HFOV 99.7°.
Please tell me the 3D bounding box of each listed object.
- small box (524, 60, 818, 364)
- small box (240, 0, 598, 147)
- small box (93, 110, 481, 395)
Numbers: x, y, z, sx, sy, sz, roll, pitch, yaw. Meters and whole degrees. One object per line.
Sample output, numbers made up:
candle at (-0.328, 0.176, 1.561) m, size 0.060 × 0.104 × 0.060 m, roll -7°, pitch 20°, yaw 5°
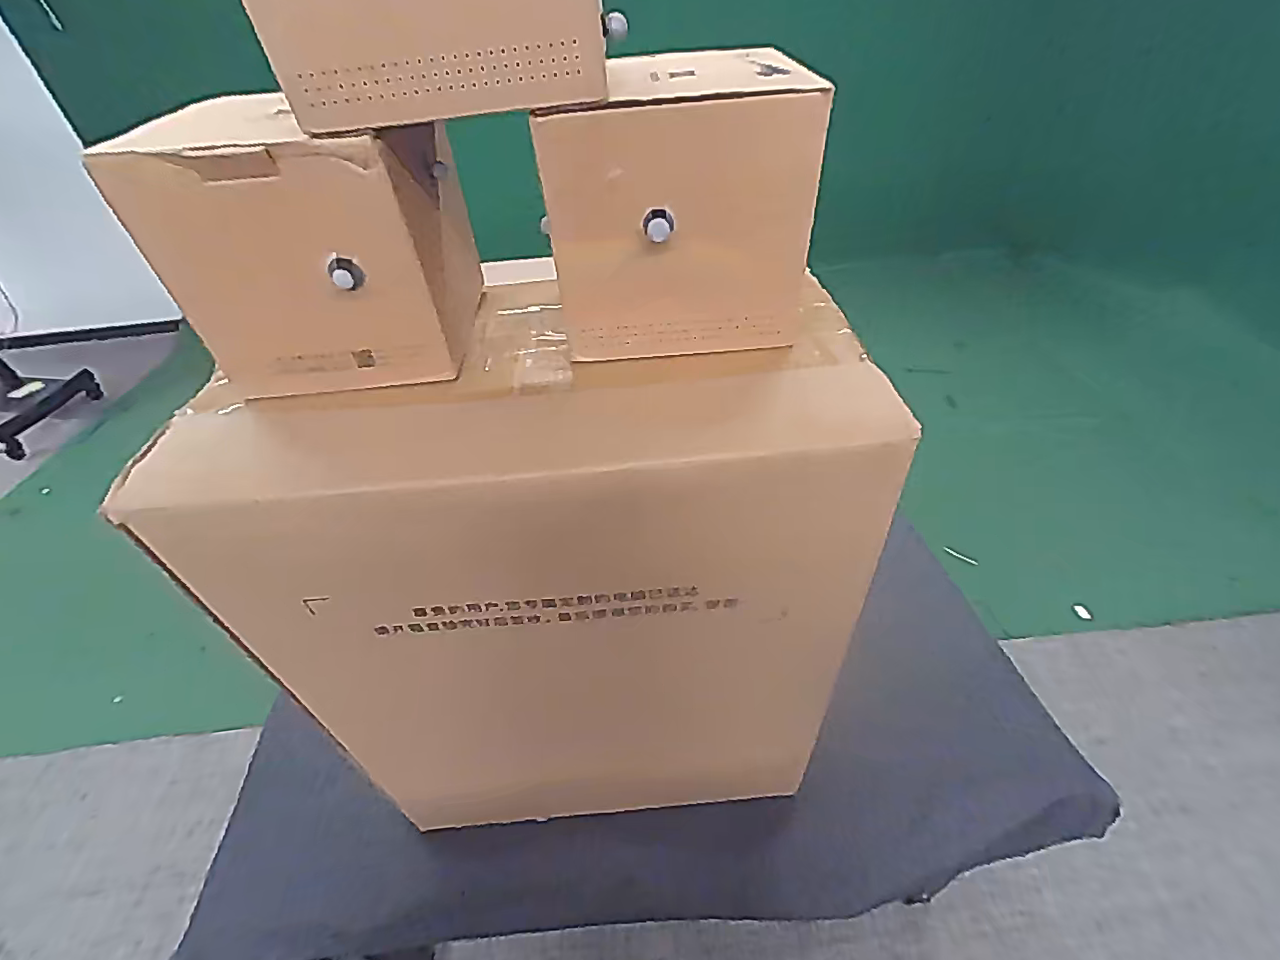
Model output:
small box at (0.022, -0.205, 0.423) m, size 0.179 × 0.176 × 0.168 m, roll -6°, pitch 44°, yaw 1°
small box at (-0.119, -0.310, 0.309) m, size 0.179 × 0.176 × 0.168 m, roll -7°, pitch 44°, yaw 1°
small box at (-0.233, -0.178, 0.423) m, size 0.168 × 0.176 × 0.179 m, roll -5°, pitch 42°, yaw -2°
